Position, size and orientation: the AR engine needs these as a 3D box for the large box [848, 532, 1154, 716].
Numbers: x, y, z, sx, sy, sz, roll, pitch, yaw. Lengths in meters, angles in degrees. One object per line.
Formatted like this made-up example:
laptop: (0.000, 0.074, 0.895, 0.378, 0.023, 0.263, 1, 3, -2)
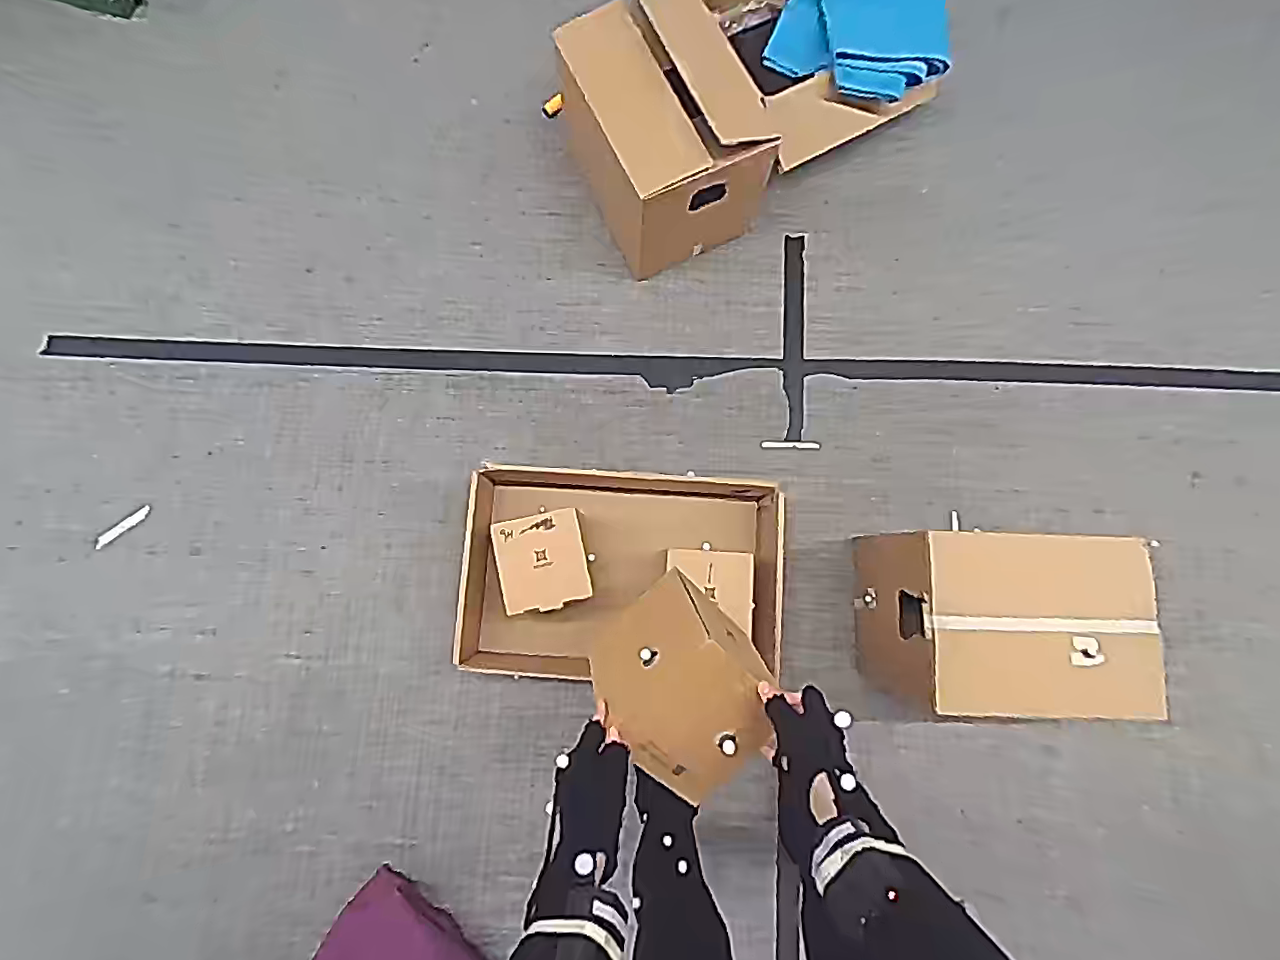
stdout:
large box: (0.682, 0.274, 1.091, 0.408, 0.320, 0.320, 2, 82, -3)
